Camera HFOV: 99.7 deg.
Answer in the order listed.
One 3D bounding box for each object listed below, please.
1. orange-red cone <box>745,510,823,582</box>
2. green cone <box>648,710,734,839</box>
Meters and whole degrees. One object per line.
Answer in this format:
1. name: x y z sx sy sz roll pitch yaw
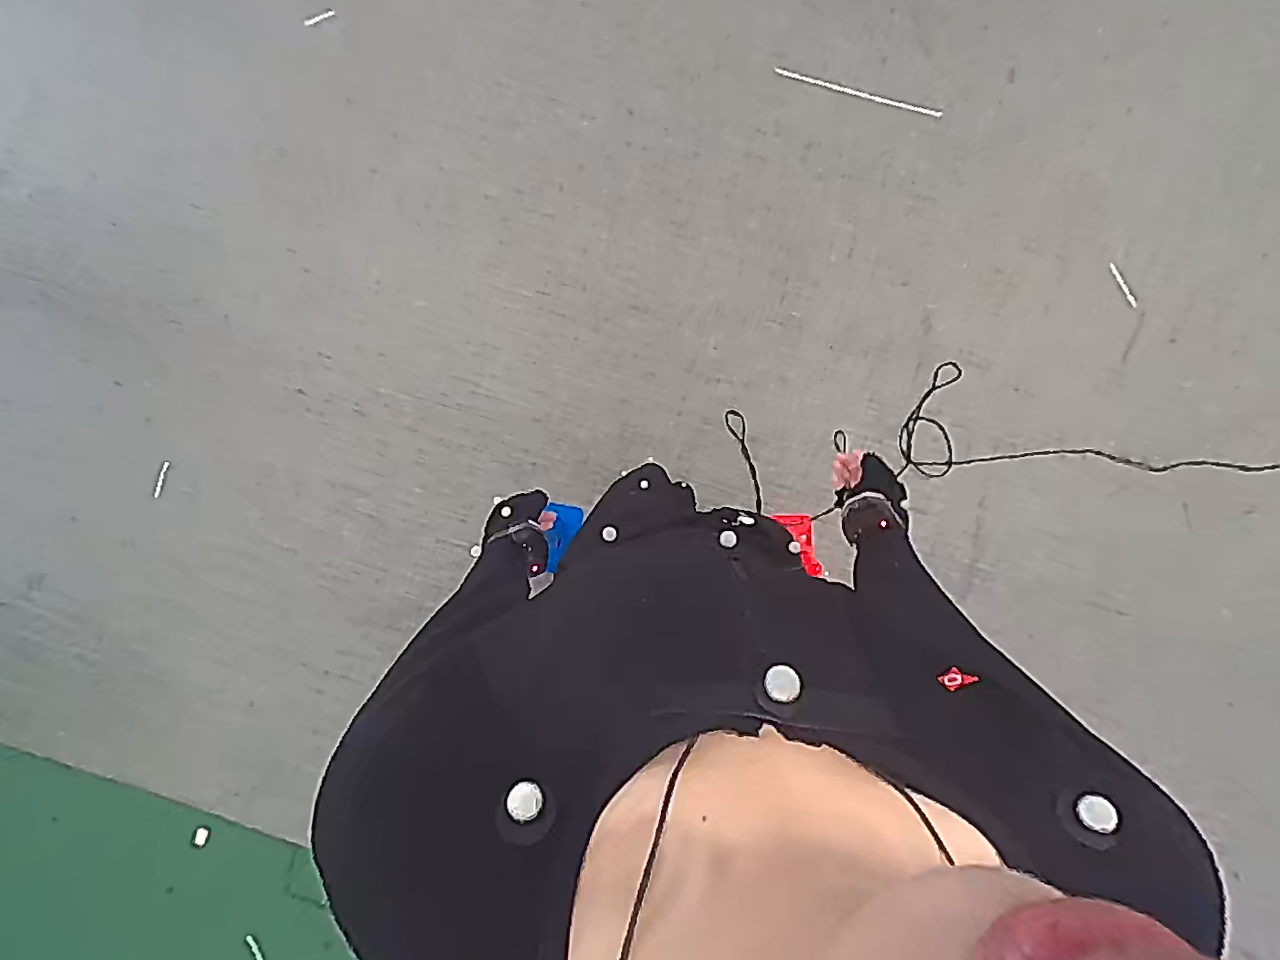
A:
1. orange-red cone: 0.383 0.187 1.334 0.198 0.360 0.199 -1 91 3
2. green cone: 0.141 0.759 1.335 0.200 0.368 0.202 20 89 1
